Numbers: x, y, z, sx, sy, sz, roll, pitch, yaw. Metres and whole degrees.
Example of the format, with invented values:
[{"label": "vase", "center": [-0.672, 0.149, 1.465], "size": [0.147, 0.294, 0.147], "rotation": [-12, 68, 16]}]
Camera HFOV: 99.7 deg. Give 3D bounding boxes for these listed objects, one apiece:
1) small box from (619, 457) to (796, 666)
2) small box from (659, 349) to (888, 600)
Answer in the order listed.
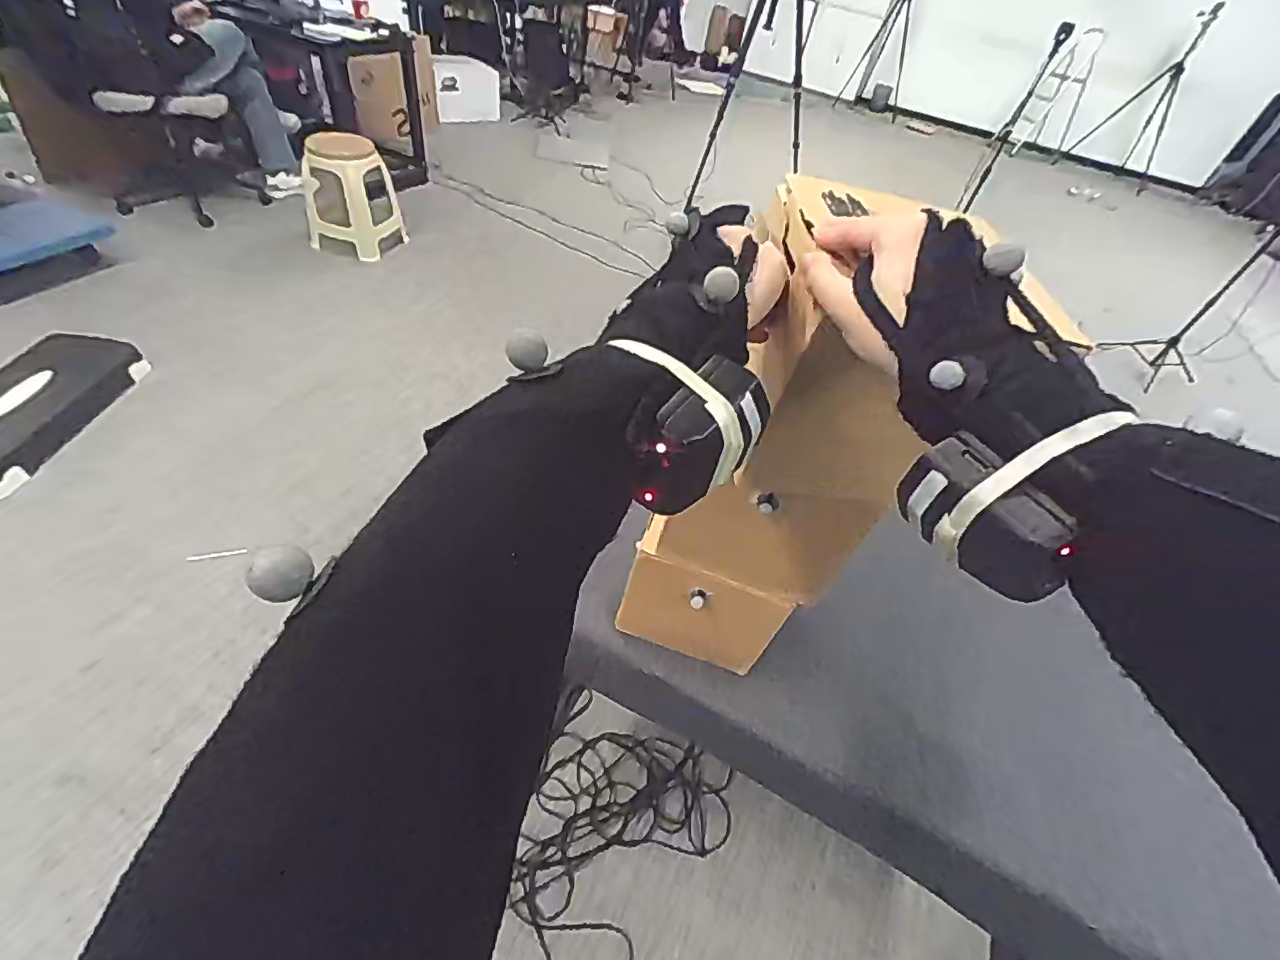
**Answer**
[{"label": "small box", "center": [0.088, 0.106, 0.674], "size": [0.179, 0.176, 0.168], "rotation": [19, 45, 6]}, {"label": "small box", "center": [0.132, -0.003, 0.561], "size": [0.179, 0.176, 0.168], "rotation": [20, 46, 5]}]
